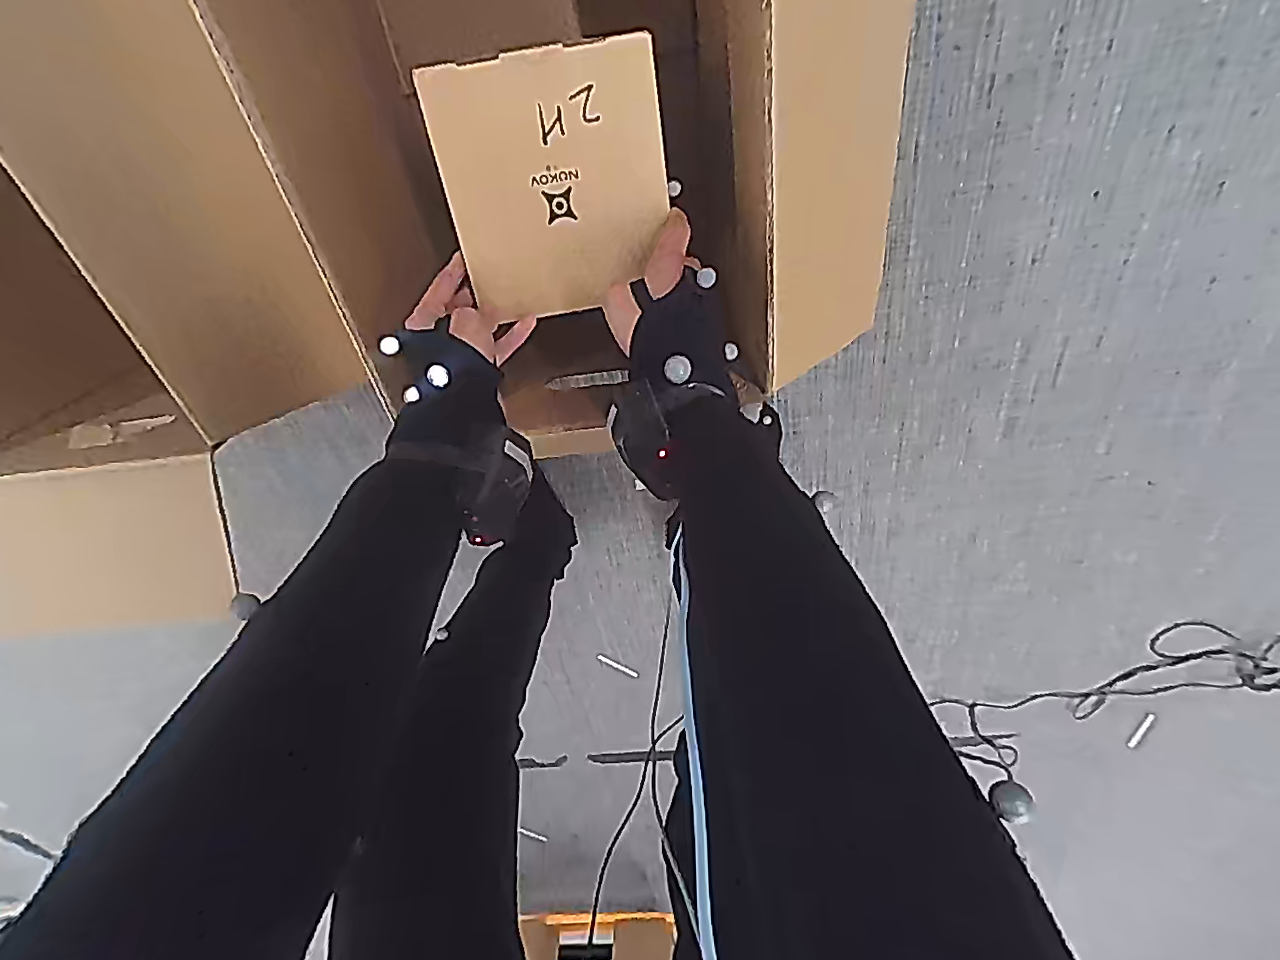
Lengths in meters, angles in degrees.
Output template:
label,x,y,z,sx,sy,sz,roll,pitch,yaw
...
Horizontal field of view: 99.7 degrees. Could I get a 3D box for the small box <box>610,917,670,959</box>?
label,x,y,z,sx,sy,sz,roll,pitch,yaw
small box,0.003,1.534,1.741,0.179,0.176,0.168,-7,126,10
